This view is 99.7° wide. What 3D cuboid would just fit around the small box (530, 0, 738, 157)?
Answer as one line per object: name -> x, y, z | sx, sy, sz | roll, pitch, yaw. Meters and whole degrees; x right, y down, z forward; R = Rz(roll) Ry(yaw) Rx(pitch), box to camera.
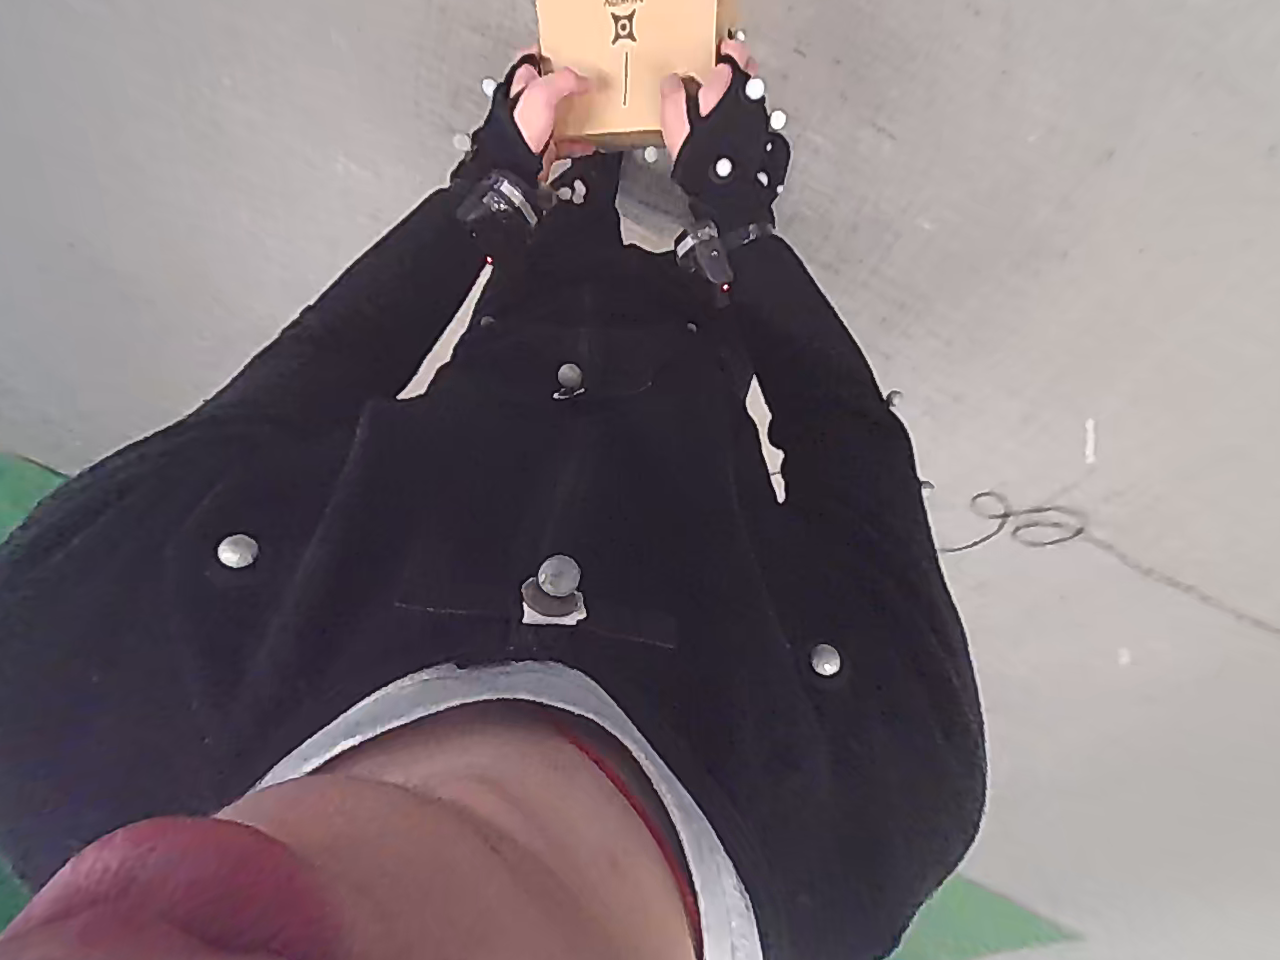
small box -> 0.003, -0.434, 0.537 | 0.168, 0.176, 0.179 | 6, 117, 16
